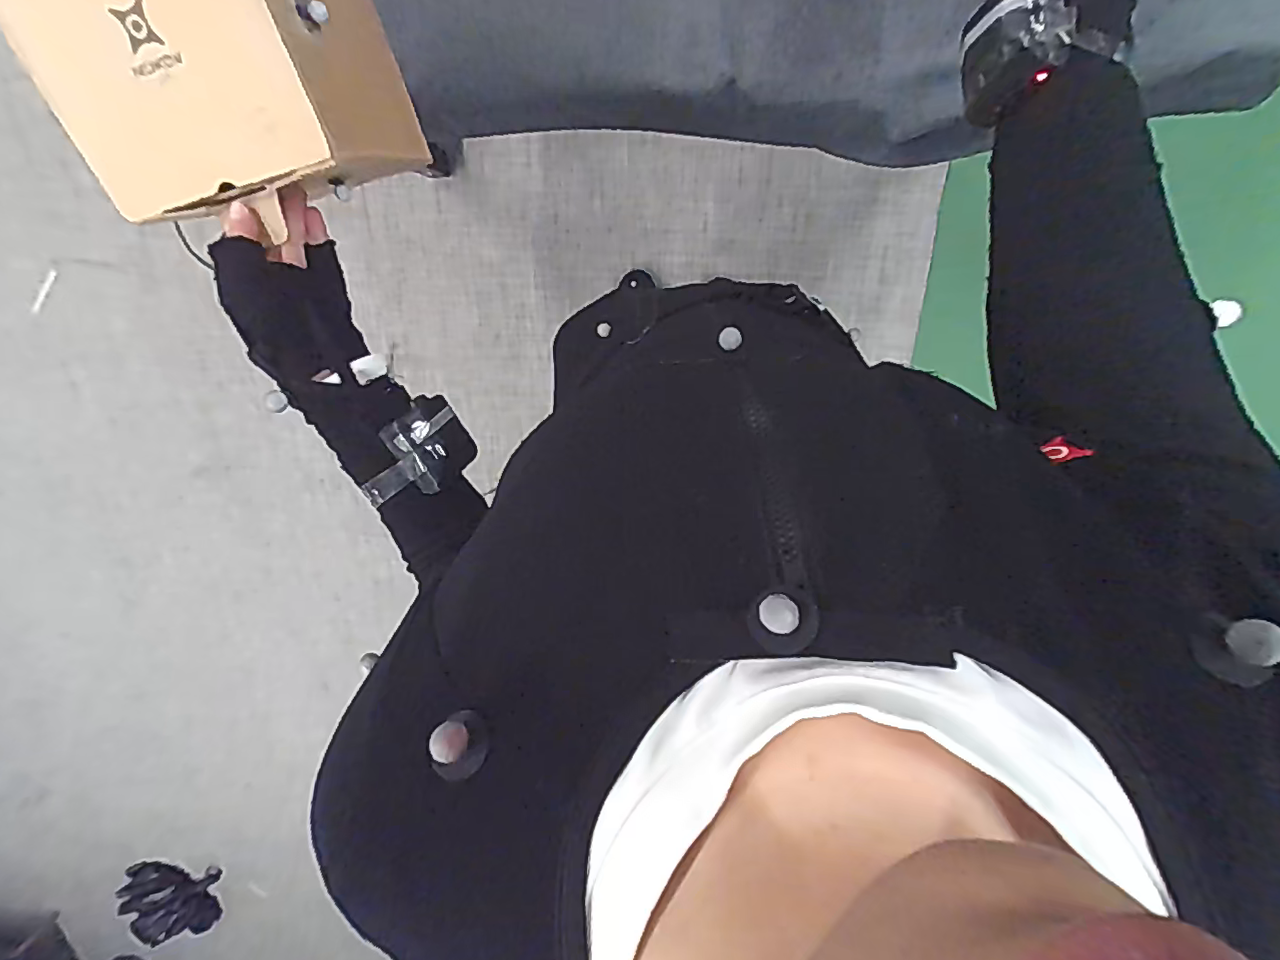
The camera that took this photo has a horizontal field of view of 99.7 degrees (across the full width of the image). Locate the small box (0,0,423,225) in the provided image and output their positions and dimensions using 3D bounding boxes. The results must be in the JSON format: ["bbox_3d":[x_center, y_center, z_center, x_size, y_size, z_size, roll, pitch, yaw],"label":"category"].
[{"bbox_3d":[-0.286,-0.301,0.384,0.168,0.176,0.179,-11,118,9],"label":"small box"}]
